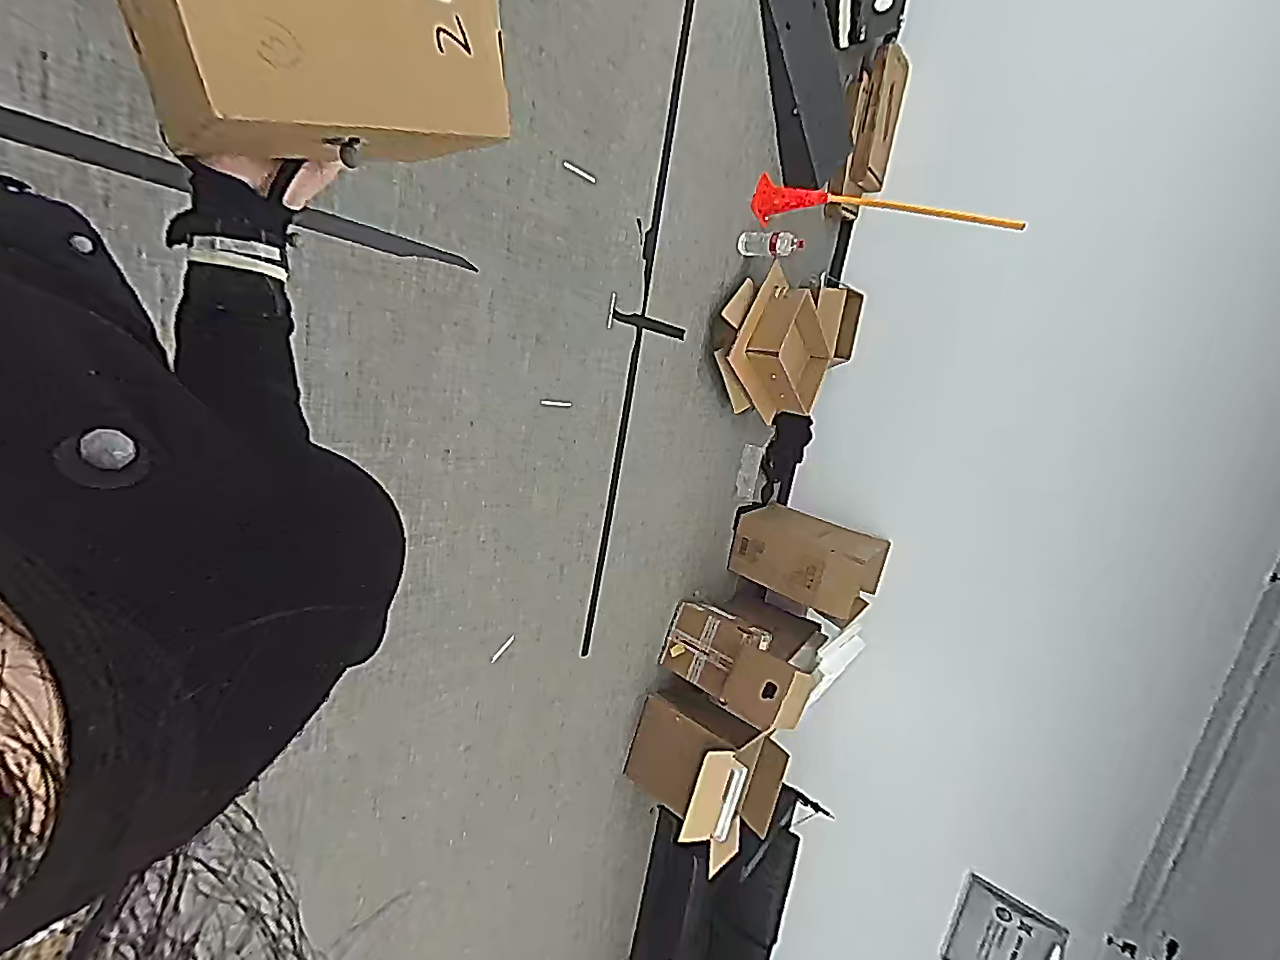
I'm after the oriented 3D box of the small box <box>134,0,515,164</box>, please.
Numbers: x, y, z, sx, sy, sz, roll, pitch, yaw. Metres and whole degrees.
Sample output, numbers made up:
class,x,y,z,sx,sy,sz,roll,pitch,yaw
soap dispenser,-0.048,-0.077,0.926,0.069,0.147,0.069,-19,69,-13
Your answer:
class,x,y,z,sx,sy,sz,roll,pitch,yaw
small box,-0.208,-0.304,0.345,0.179,0.176,0.168,-25,124,-38
